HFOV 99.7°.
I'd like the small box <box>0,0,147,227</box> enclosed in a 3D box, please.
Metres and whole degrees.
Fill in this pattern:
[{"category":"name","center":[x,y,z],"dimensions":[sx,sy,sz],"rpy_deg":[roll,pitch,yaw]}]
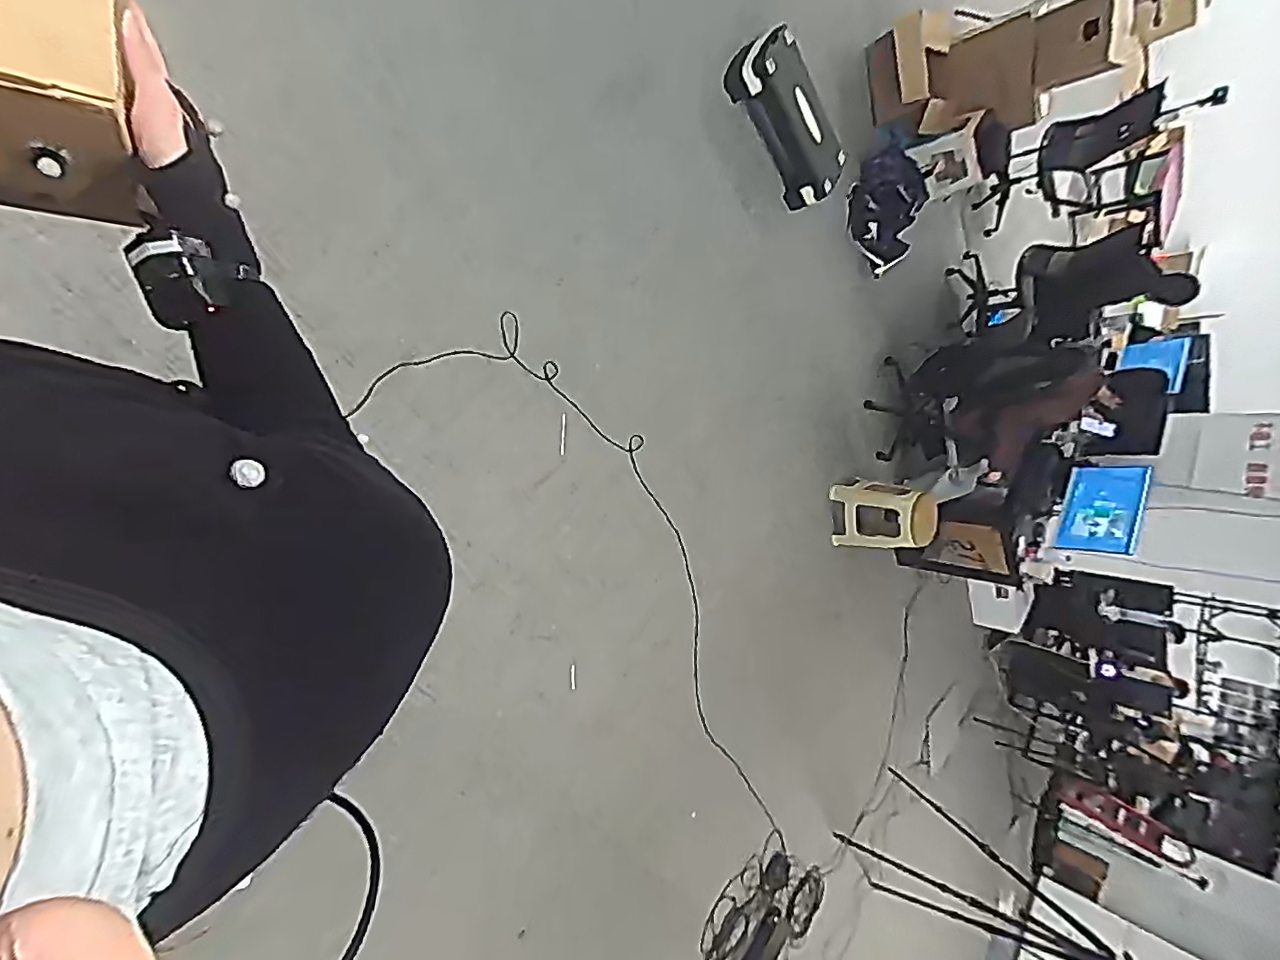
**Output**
[{"category":"small box","center":[-0.466,-0.311,0.378],"dimensions":[0.168,0.176,0.179],"rpy_deg":[-5,83,-40]}]
